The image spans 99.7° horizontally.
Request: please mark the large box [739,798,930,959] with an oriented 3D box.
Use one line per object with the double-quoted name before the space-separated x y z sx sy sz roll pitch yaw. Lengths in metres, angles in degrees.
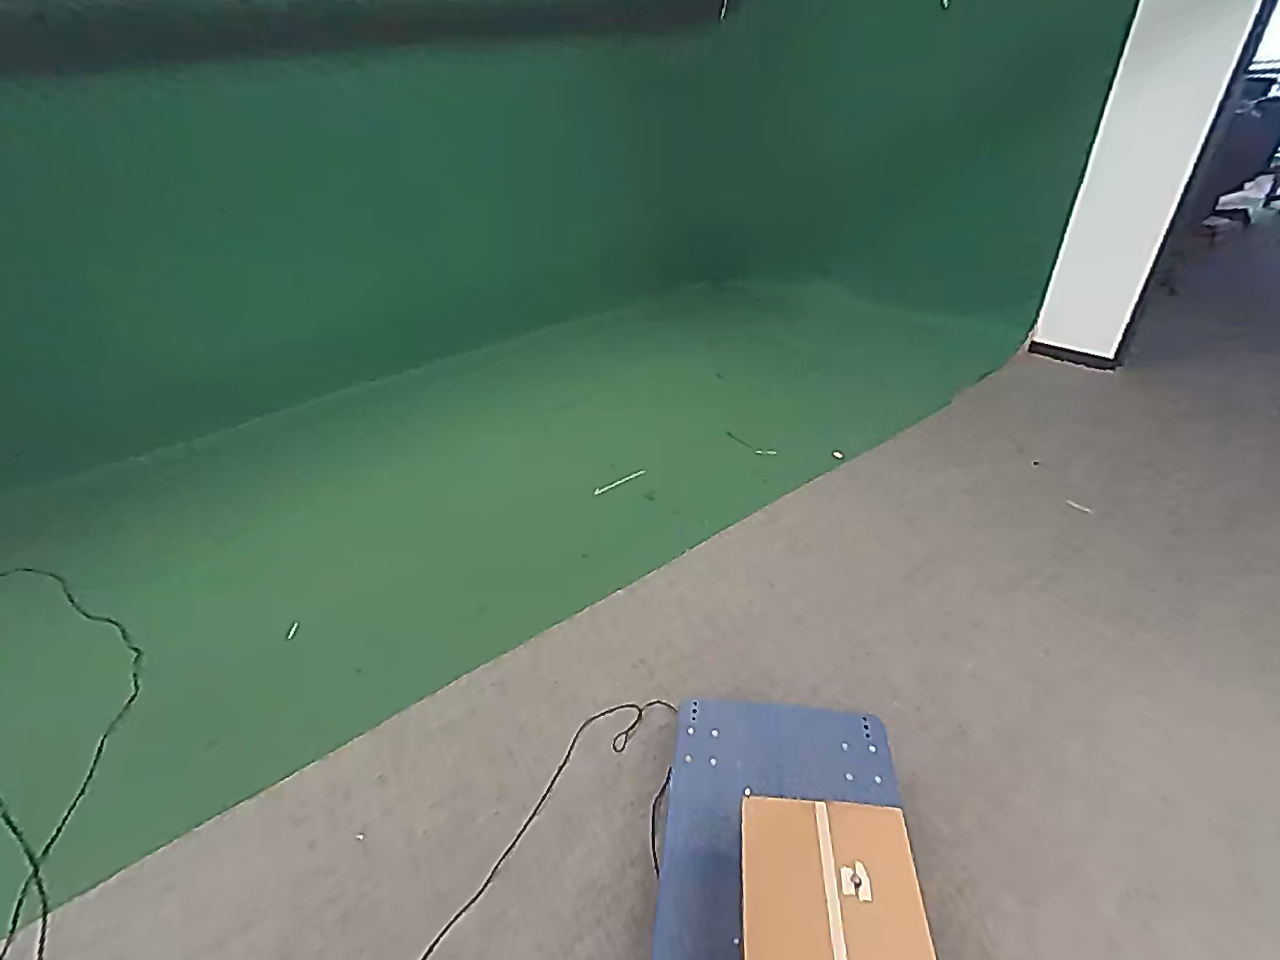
"large box" 0.355 0.904 1.040 0.320 0.320 0.408 0 35 10
